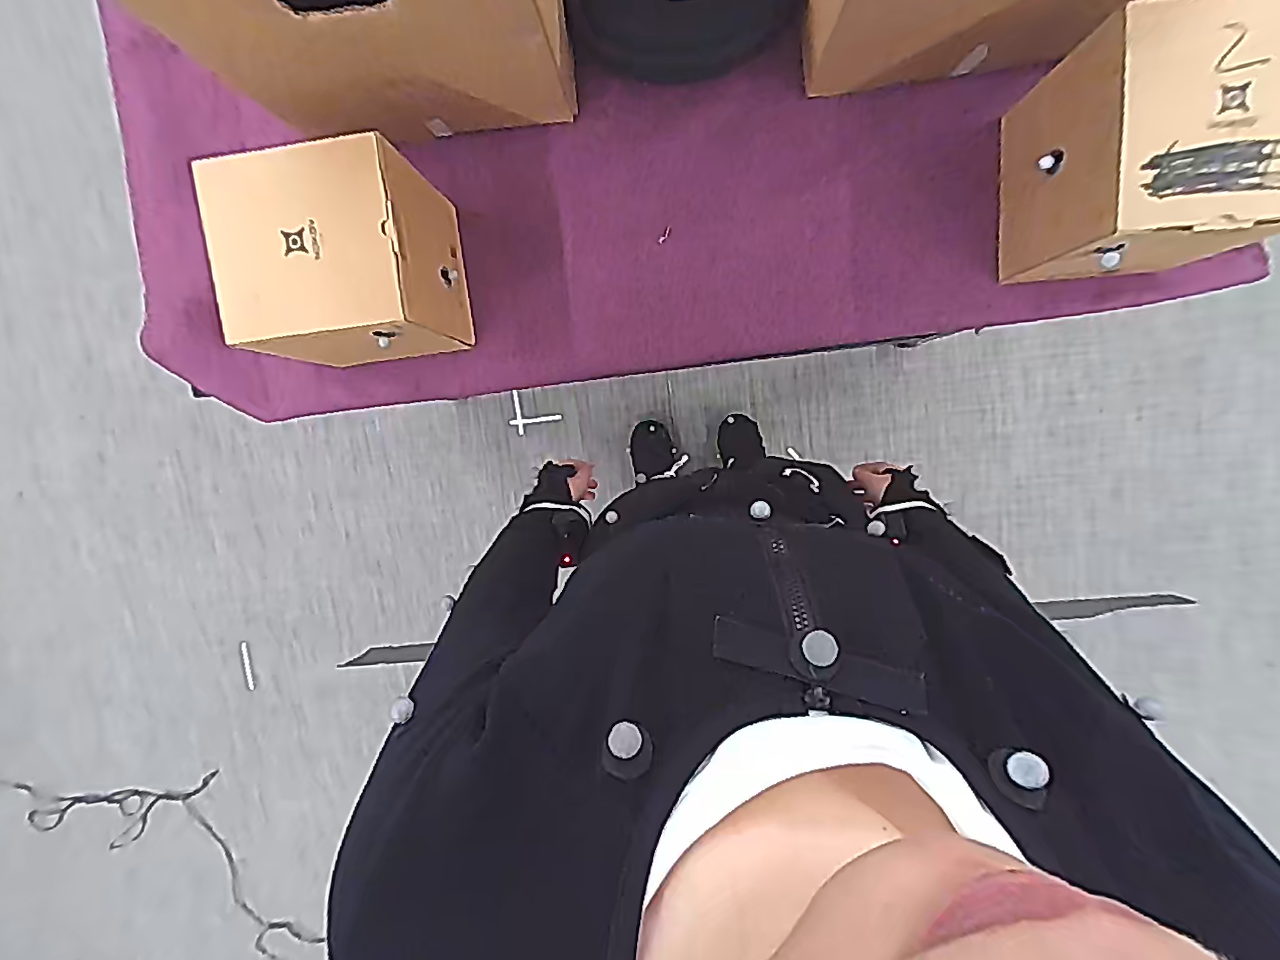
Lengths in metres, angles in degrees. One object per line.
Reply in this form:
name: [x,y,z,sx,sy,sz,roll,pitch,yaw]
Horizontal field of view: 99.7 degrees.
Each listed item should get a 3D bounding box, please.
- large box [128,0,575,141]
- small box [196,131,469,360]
large box: [-0.247,-0.576,0.455,0.320,0.320,0.408,-4,99,5]
small box: [-0.305,-0.227,0.571,0.179,0.176,0.168,-7,95,4]
